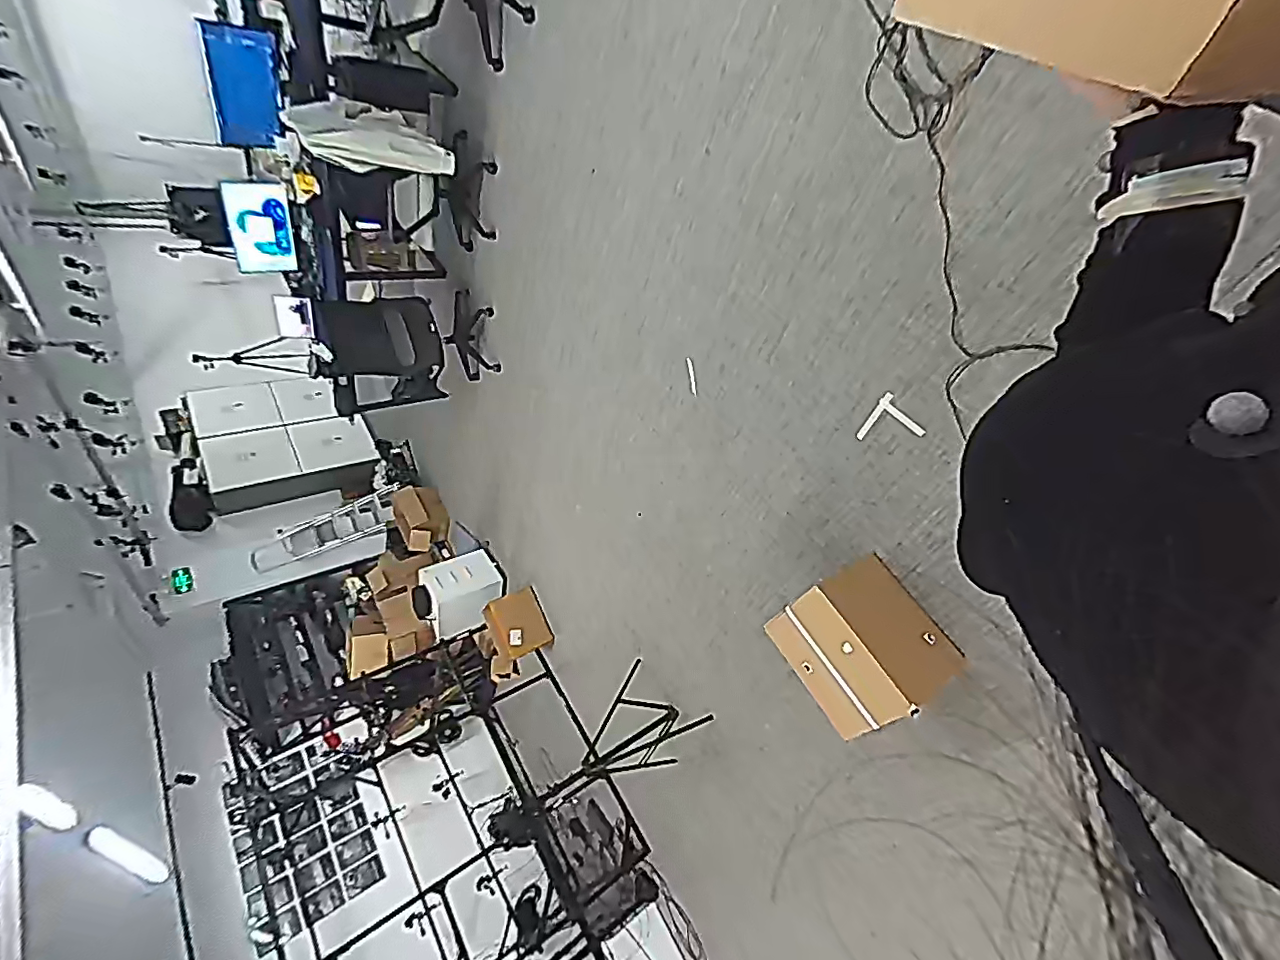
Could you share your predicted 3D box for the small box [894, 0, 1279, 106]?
[{"bbox_3d":[0.278,-0.306,0.264,0.179,0.176,0.168,56,151,34],"label":"small box"}]
